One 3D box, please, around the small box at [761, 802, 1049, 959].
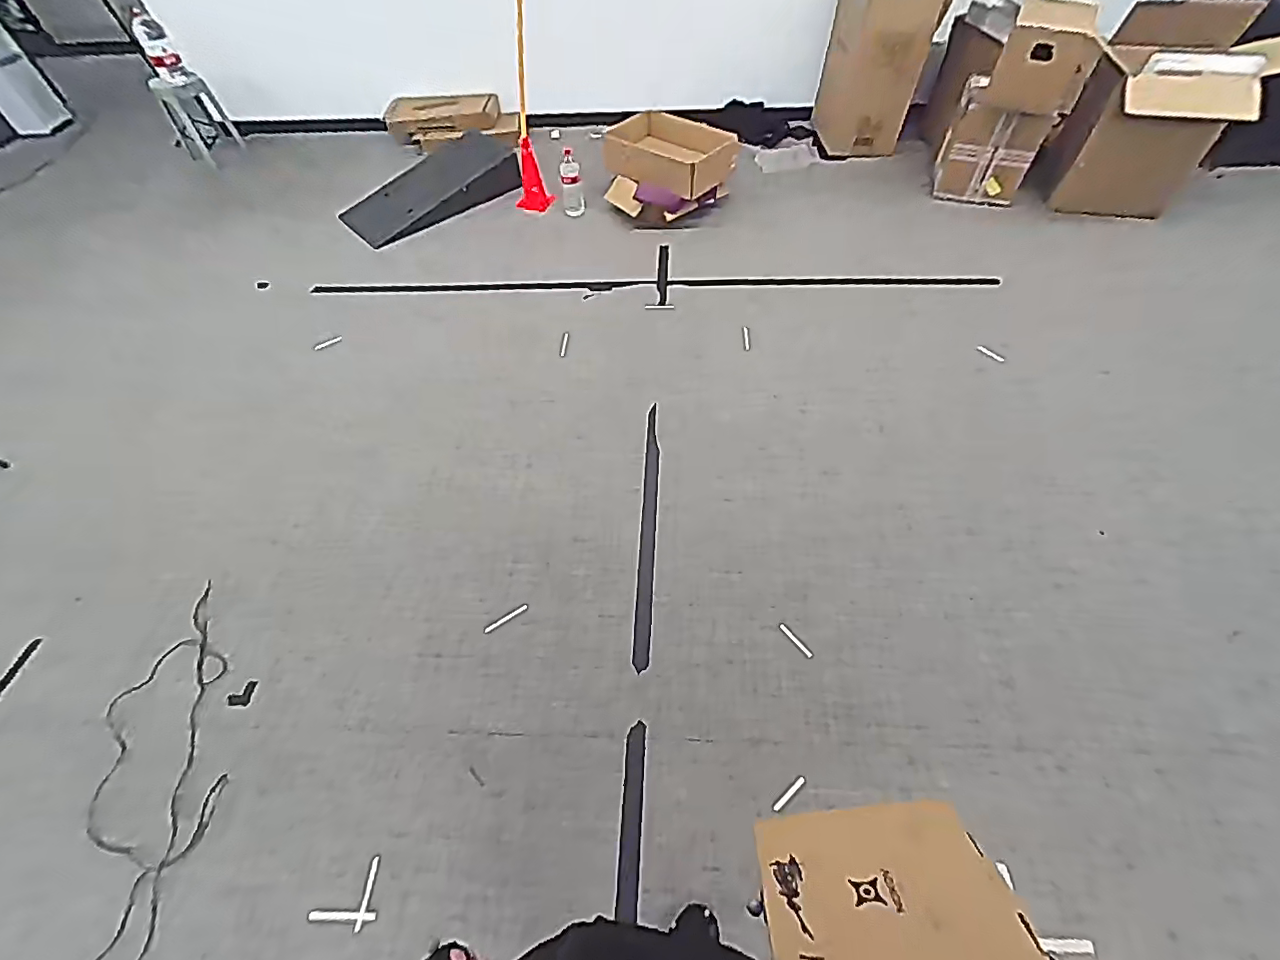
[{"bbox_3d":[0.205,0.400,0.434,0.179,0.168,0.176,-10,98,6],"label":"small box"}]
